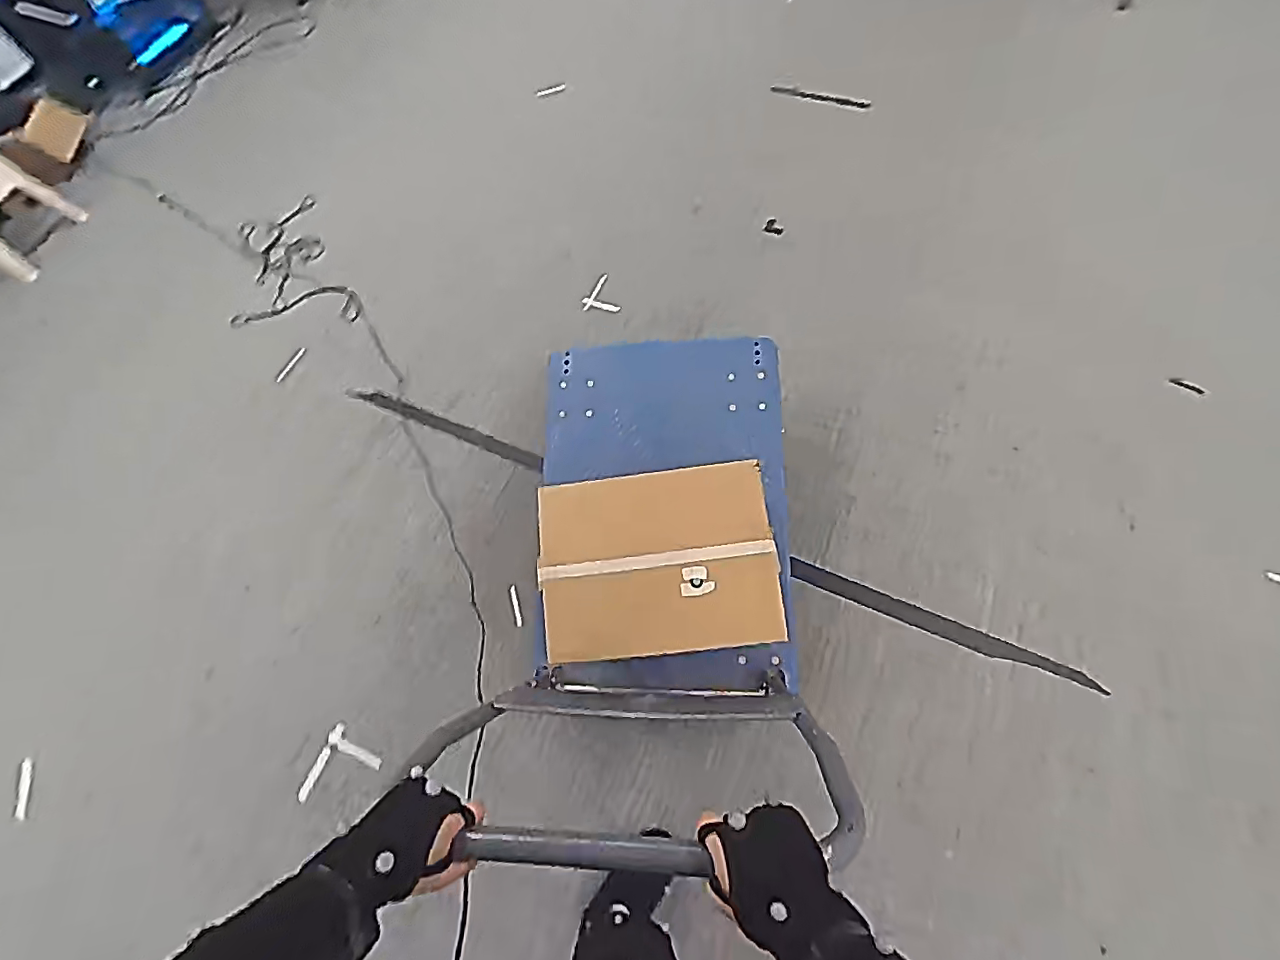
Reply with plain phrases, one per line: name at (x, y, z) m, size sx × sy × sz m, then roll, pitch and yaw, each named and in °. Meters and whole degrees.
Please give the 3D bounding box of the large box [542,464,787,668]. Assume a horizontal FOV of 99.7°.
large box at (0.047, 0.184, 1.093) m, size 0.408 × 0.320 × 0.320 m, roll -8°, pitch 75°, yaw 4°
